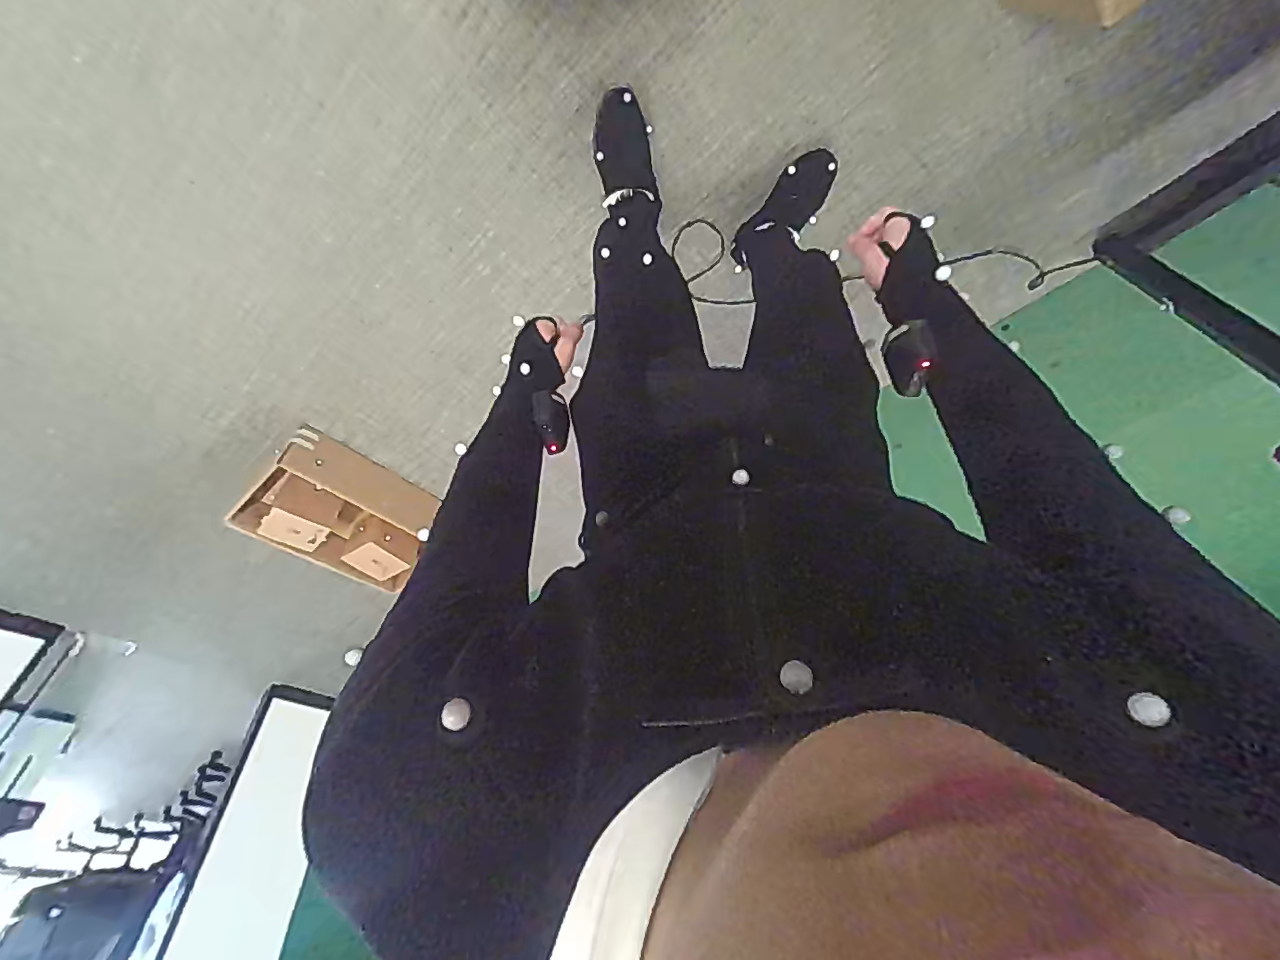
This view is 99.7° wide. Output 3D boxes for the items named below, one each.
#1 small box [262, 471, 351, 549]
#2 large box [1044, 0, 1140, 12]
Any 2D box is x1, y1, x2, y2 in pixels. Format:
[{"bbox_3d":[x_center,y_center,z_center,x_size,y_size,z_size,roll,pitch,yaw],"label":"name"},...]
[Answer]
[{"bbox_3d":[-1.097,0.094,1.790,0.179,0.176,0.168,32,126,-32],"label":"small box"},{"bbox_3d":[0.746,-0.971,0.735,0.408,0.320,0.320,-34,129,27],"label":"large box"}]
